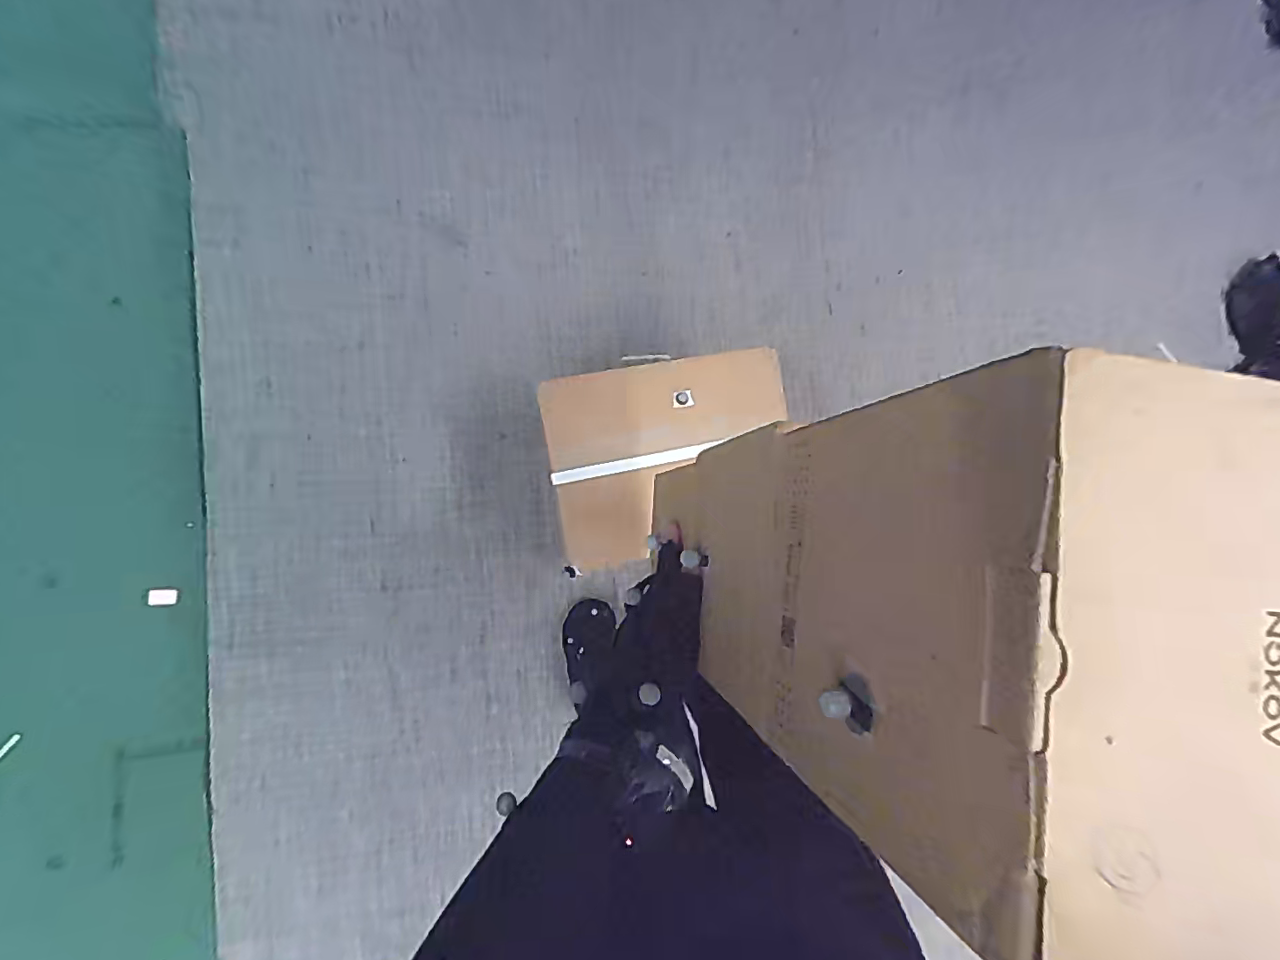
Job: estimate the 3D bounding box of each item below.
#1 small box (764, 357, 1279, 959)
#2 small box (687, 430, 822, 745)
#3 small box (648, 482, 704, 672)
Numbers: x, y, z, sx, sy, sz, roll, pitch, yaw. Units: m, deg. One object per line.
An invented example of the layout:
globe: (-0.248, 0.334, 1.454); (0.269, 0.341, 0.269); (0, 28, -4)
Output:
small box: (0.167, 0.061, 0.230); (0.179, 0.176, 0.168); (6, 86, -11)
small box: (0.134, 0.068, 0.389); (0.168, 0.176, 0.179); (4, 86, -9)
small box: (0.112, 0.086, 0.550); (0.179, 0.176, 0.168); (1, 86, -11)
